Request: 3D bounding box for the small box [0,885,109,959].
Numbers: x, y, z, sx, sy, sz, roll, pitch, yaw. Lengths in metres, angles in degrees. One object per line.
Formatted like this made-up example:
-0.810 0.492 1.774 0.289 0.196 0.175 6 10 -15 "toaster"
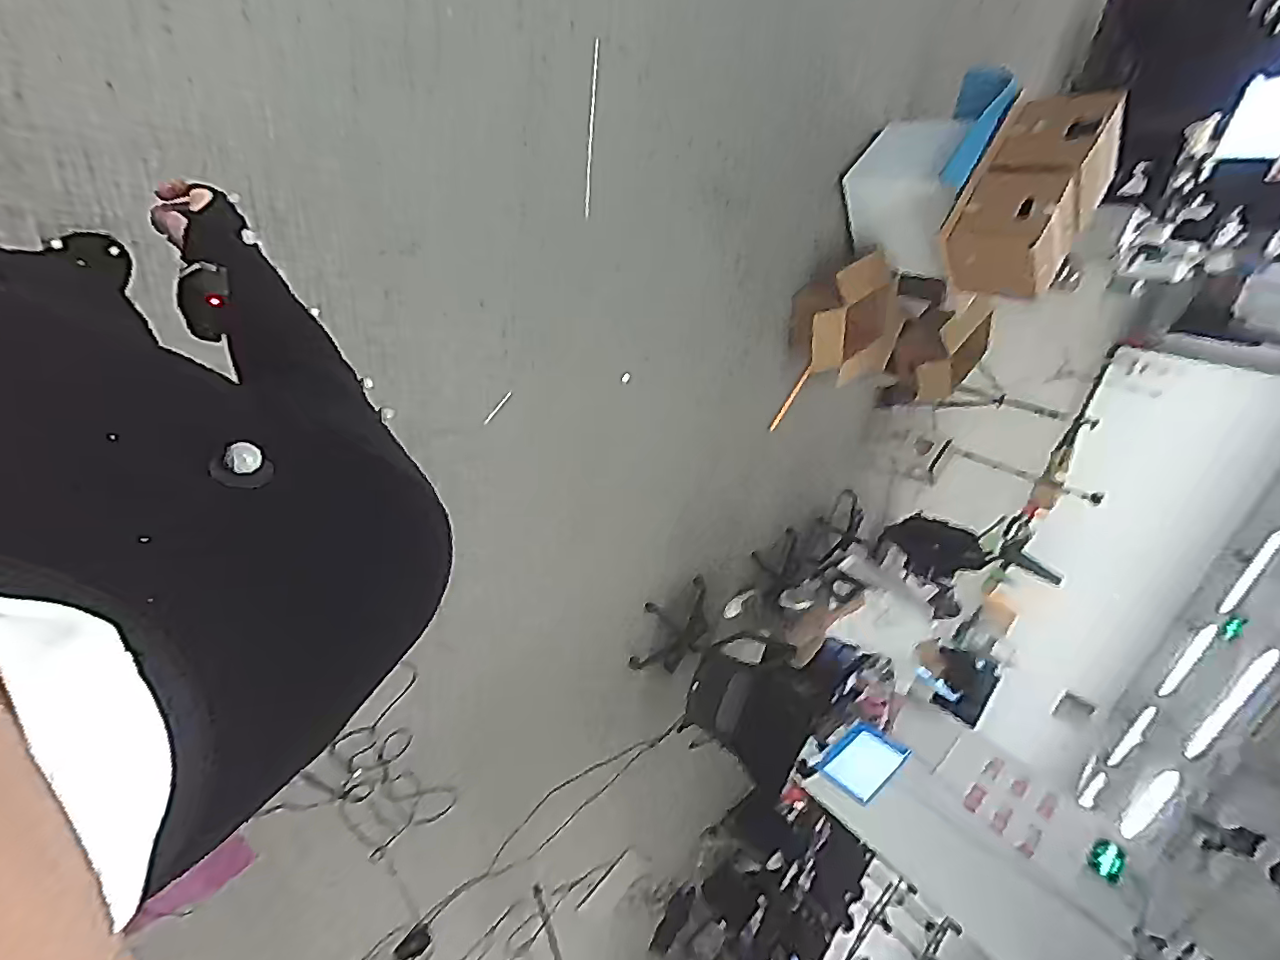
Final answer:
-0.907 0.746 0.788 0.168 0.176 0.179 -12 120 -40 "small box"
